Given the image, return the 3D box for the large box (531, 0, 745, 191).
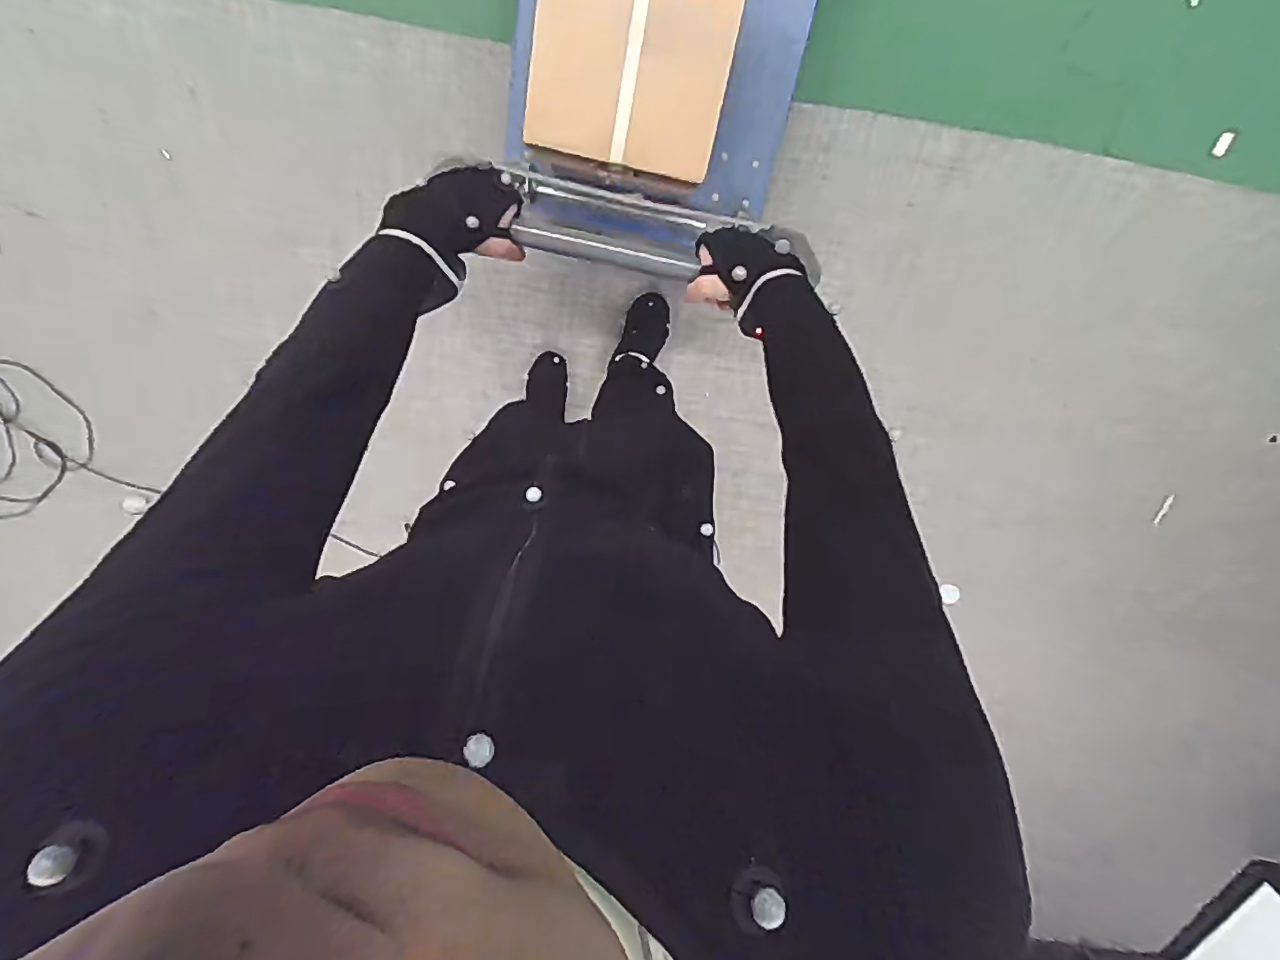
[{"bbox_3d":[0.005,-0.785,0.978,0.320,0.320,0.408,11,113,-5],"label":"large box"}]
